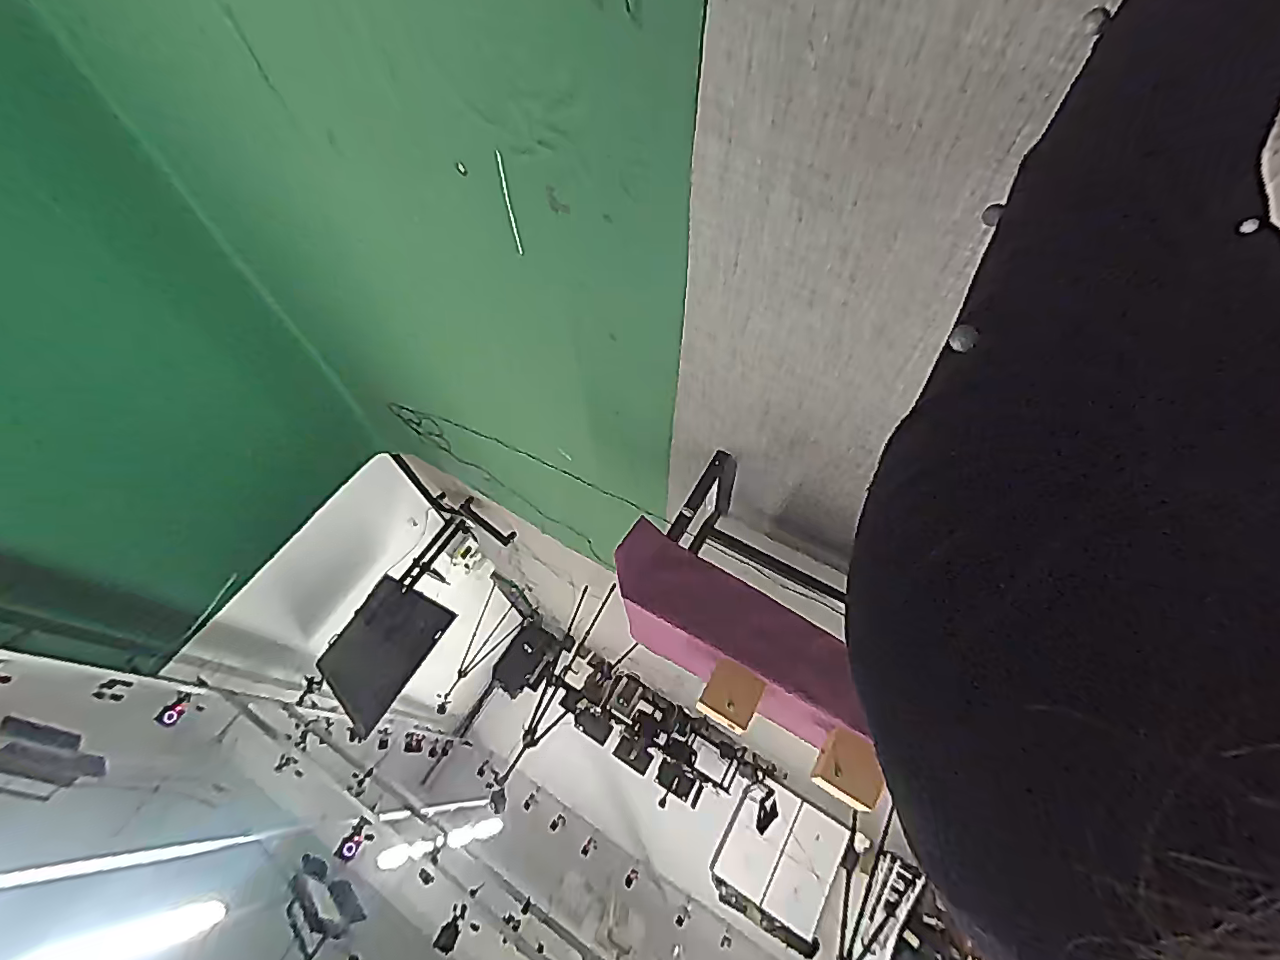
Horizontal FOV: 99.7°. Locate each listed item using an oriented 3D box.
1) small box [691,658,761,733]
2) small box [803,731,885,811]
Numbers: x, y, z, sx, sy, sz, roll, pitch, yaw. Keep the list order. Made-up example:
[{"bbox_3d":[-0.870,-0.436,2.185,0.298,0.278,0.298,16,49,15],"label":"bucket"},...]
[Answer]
[{"bbox_3d":[0.295,0.741,1.859,0.179,0.176,0.168,28,155,16],"label":"small box"},{"bbox_3d":[0.656,0.932,1.743,0.179,0.176,0.168,27,156,18],"label":"small box"}]
